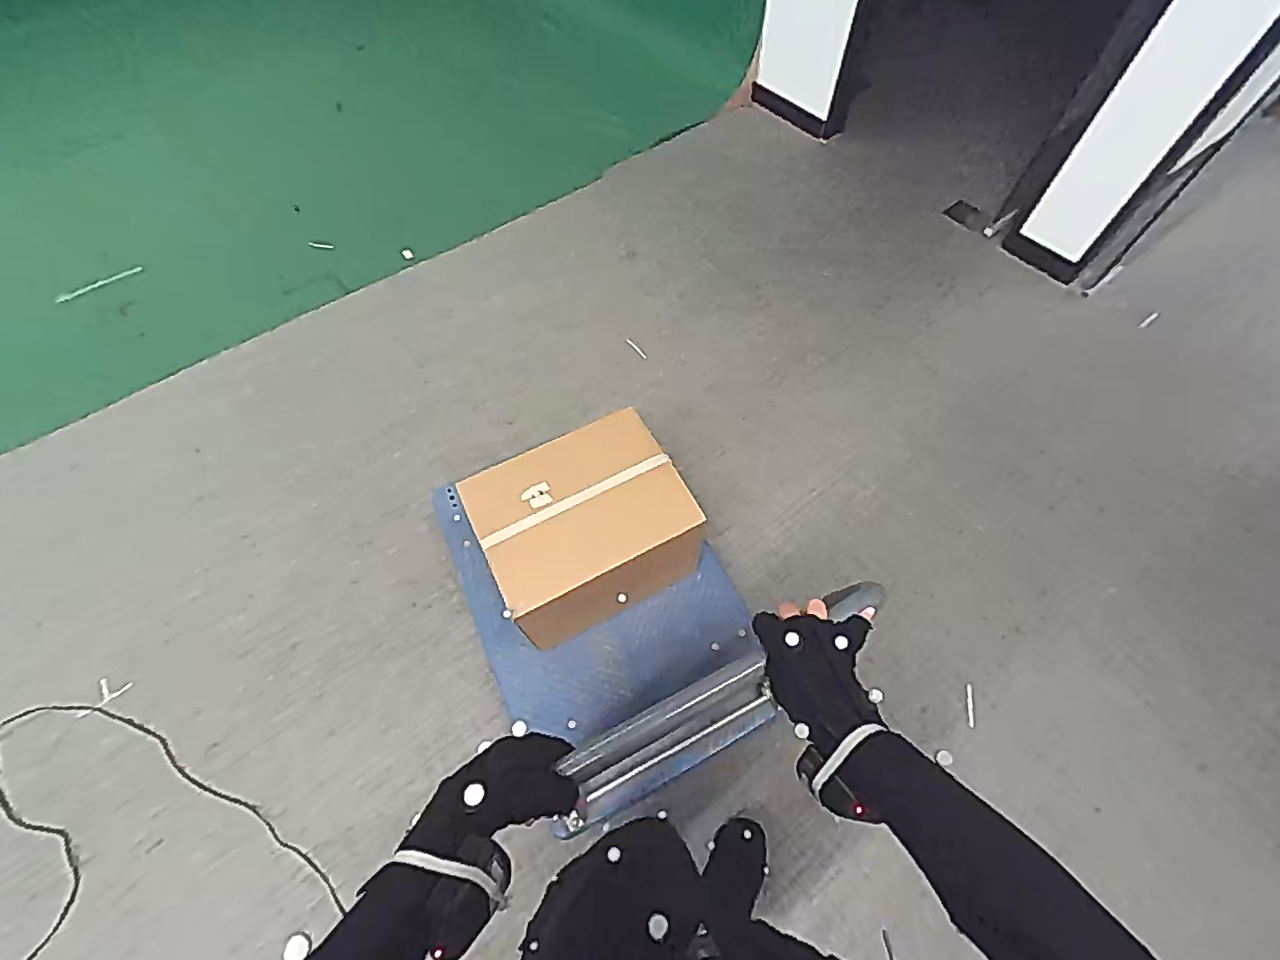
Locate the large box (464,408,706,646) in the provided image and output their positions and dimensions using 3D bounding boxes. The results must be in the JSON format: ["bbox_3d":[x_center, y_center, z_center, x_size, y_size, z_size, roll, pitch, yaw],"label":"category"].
[{"bbox_3d":[-0.109,0.112,1.201,0.408,0.320,0.320,-27,64,-12],"label":"large box"}]
